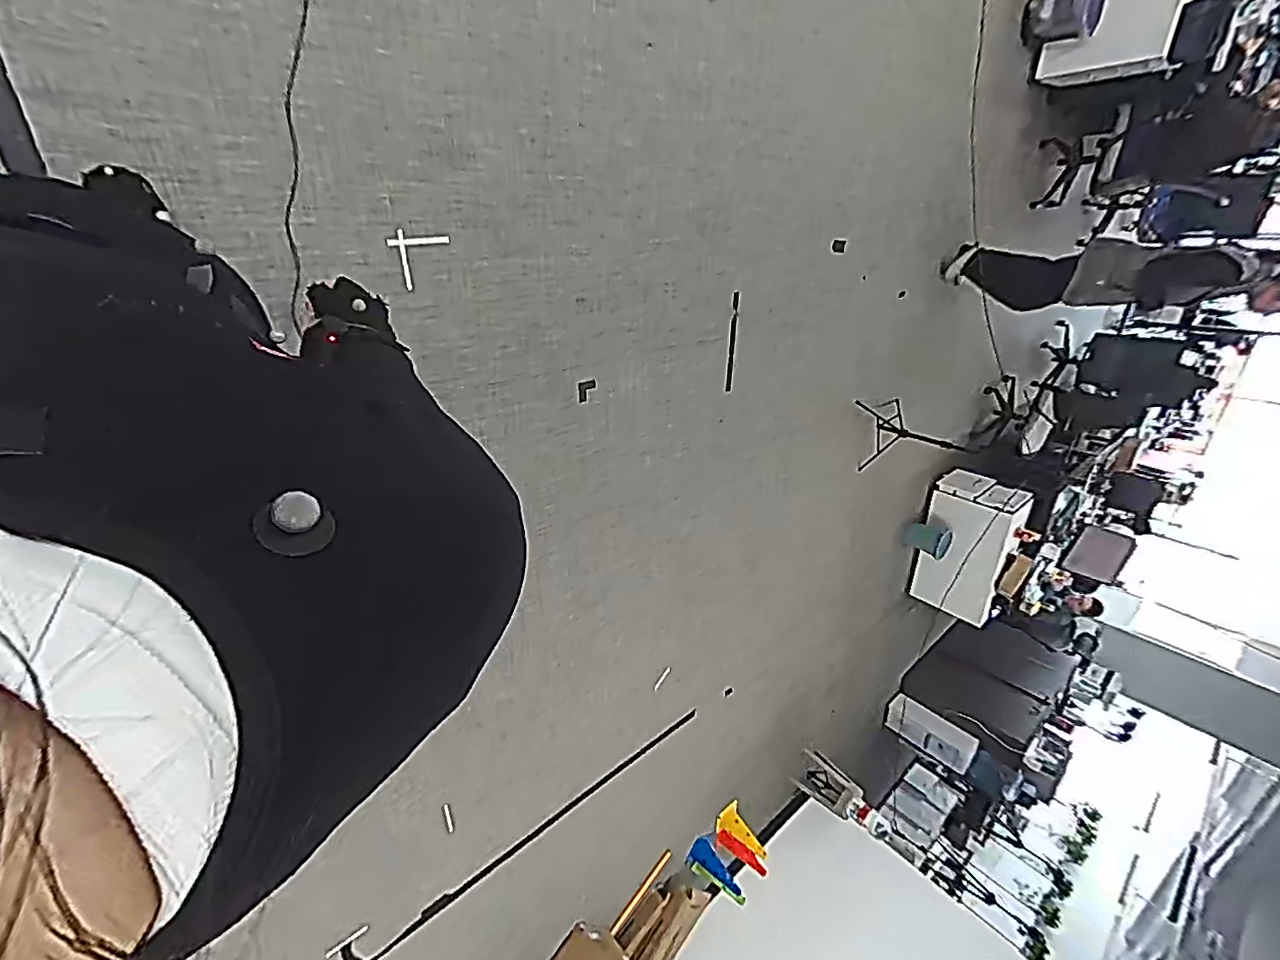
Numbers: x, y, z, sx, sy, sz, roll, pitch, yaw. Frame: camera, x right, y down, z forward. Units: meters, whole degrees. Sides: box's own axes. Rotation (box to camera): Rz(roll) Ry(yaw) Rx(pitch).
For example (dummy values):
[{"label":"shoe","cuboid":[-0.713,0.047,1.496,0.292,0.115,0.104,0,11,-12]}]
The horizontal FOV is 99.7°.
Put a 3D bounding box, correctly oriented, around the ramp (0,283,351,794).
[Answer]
[{"label":"ramp","cuboid":[-0.988,0.119,1.132,0.509,0.206,0.991,-19,120,-35]}]
